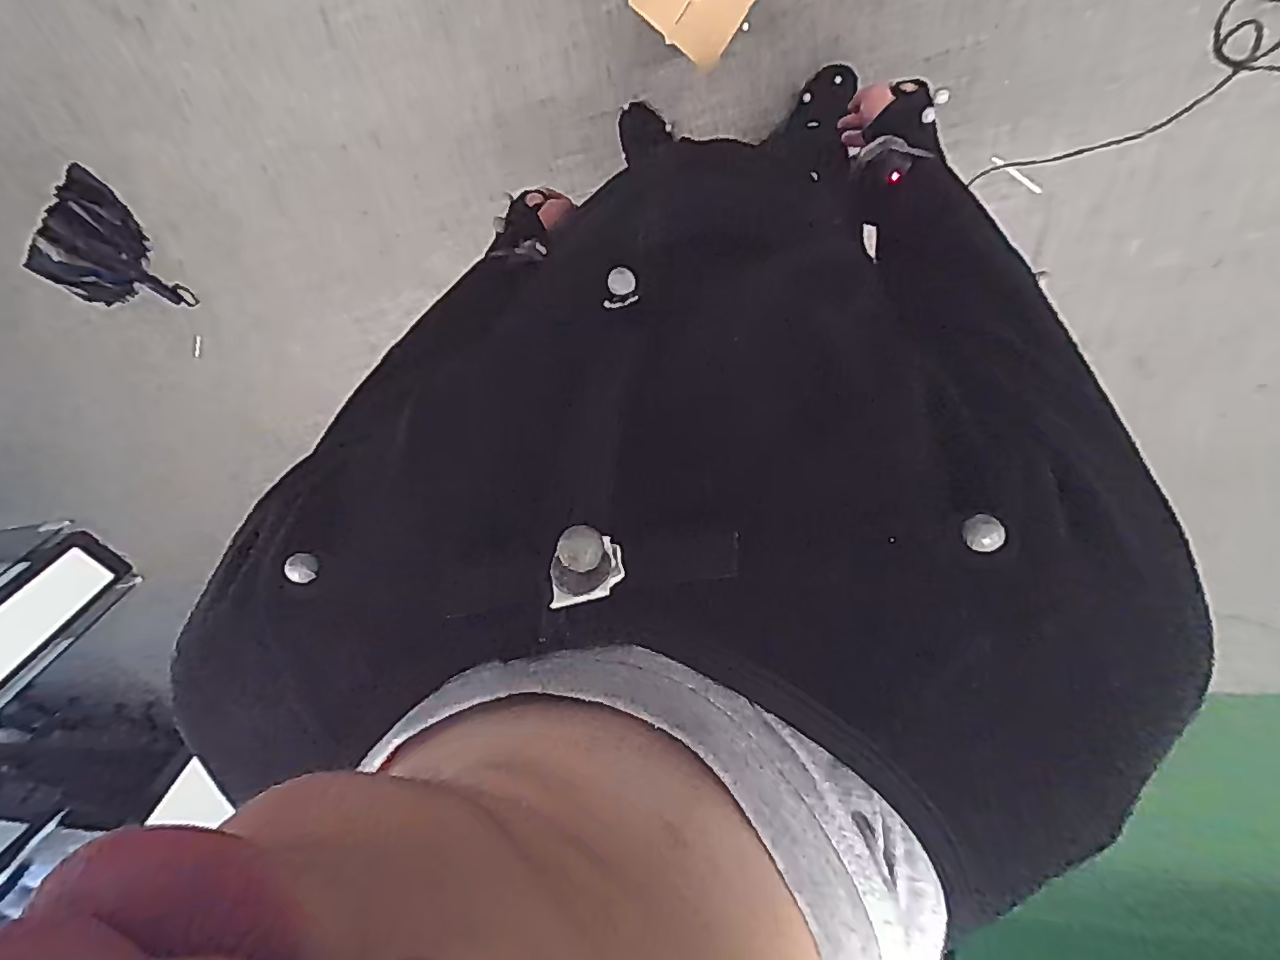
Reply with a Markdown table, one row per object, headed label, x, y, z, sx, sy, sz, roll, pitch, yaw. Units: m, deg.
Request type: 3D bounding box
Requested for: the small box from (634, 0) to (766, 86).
| label | x | y | z | sx | sy | sz | roll | pitch | yaw |
| --- | --- | --- | --- | --- | --- | --- | --- | --- | --- |
| small box | 0.111 | -0.799 | 0.889 | 0.168 | 0.176 | 0.179 | 31 | 130 | -16 |
